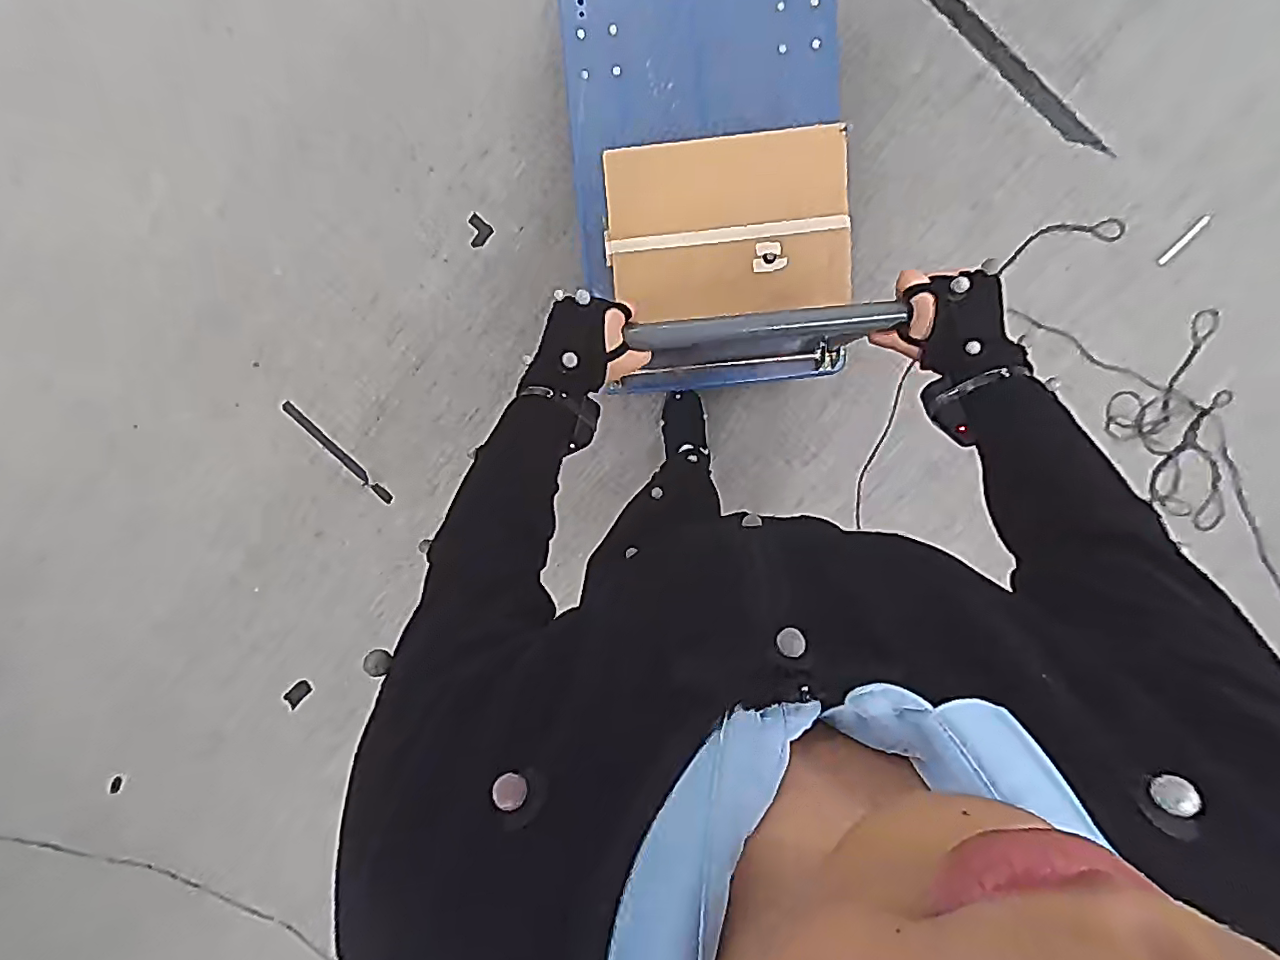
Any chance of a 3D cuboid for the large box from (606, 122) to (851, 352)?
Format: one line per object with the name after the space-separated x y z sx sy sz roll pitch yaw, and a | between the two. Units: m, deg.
0.159 -0.444 1.073 0.408 0.320 0.320 -5 99 3 | large box
